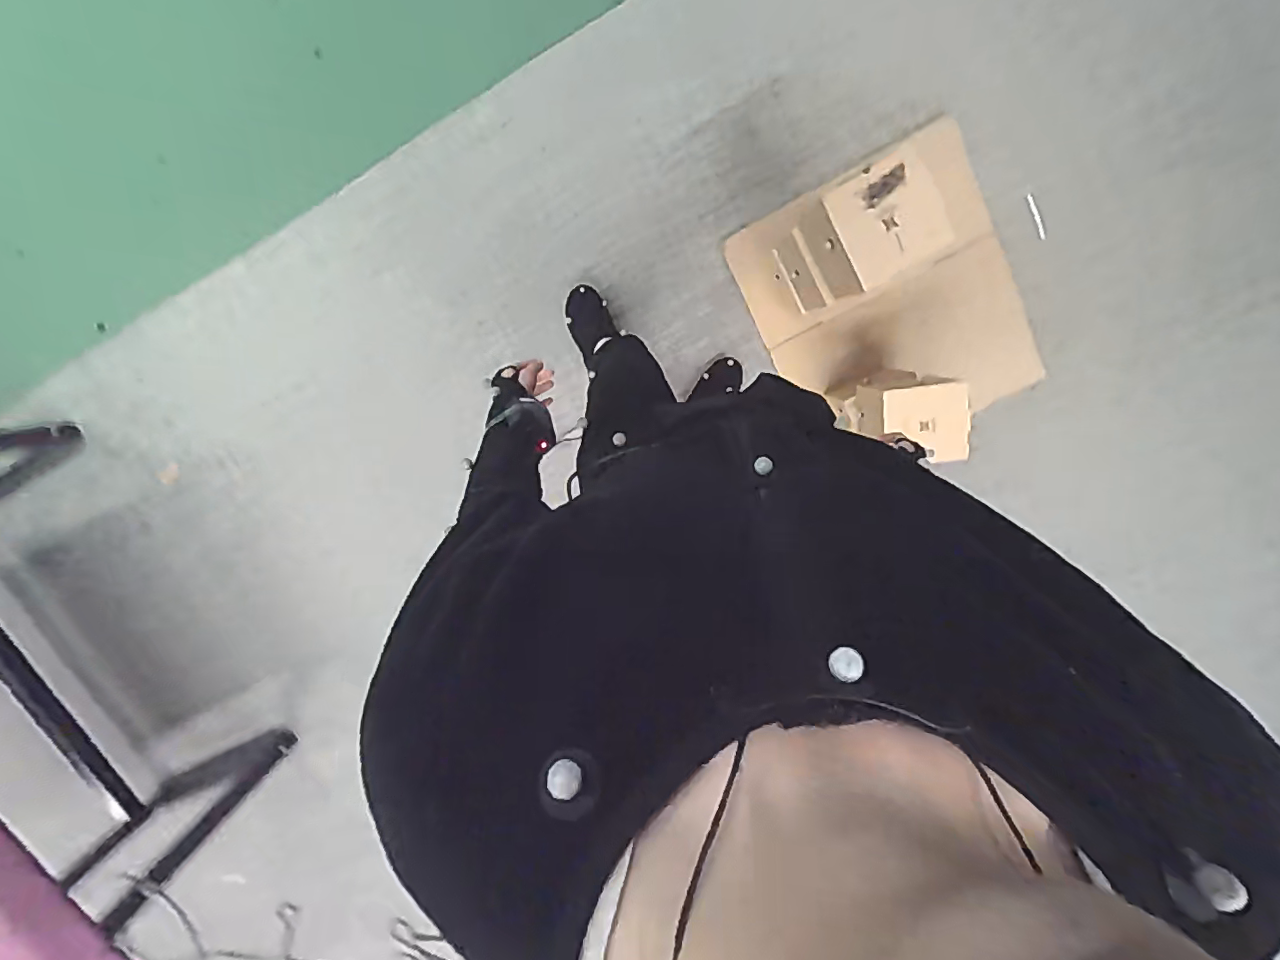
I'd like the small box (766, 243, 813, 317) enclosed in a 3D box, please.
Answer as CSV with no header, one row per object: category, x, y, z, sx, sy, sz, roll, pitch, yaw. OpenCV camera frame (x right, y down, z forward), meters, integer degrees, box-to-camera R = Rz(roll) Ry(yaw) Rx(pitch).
small box,0.413,-0.501,1.280,0.179,0.176,0.168,-28,101,8

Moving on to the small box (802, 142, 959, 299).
small box,0.411,-0.442,0.955,0.168,0.176,0.179,-29,101,8

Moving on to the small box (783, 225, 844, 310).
small box,0.412,-0.467,1.119,0.179,0.176,0.168,-28,101,8

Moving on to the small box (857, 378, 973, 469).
small box,0.596,-0.130,1.190,0.179,0.176,0.168,-6,104,4
